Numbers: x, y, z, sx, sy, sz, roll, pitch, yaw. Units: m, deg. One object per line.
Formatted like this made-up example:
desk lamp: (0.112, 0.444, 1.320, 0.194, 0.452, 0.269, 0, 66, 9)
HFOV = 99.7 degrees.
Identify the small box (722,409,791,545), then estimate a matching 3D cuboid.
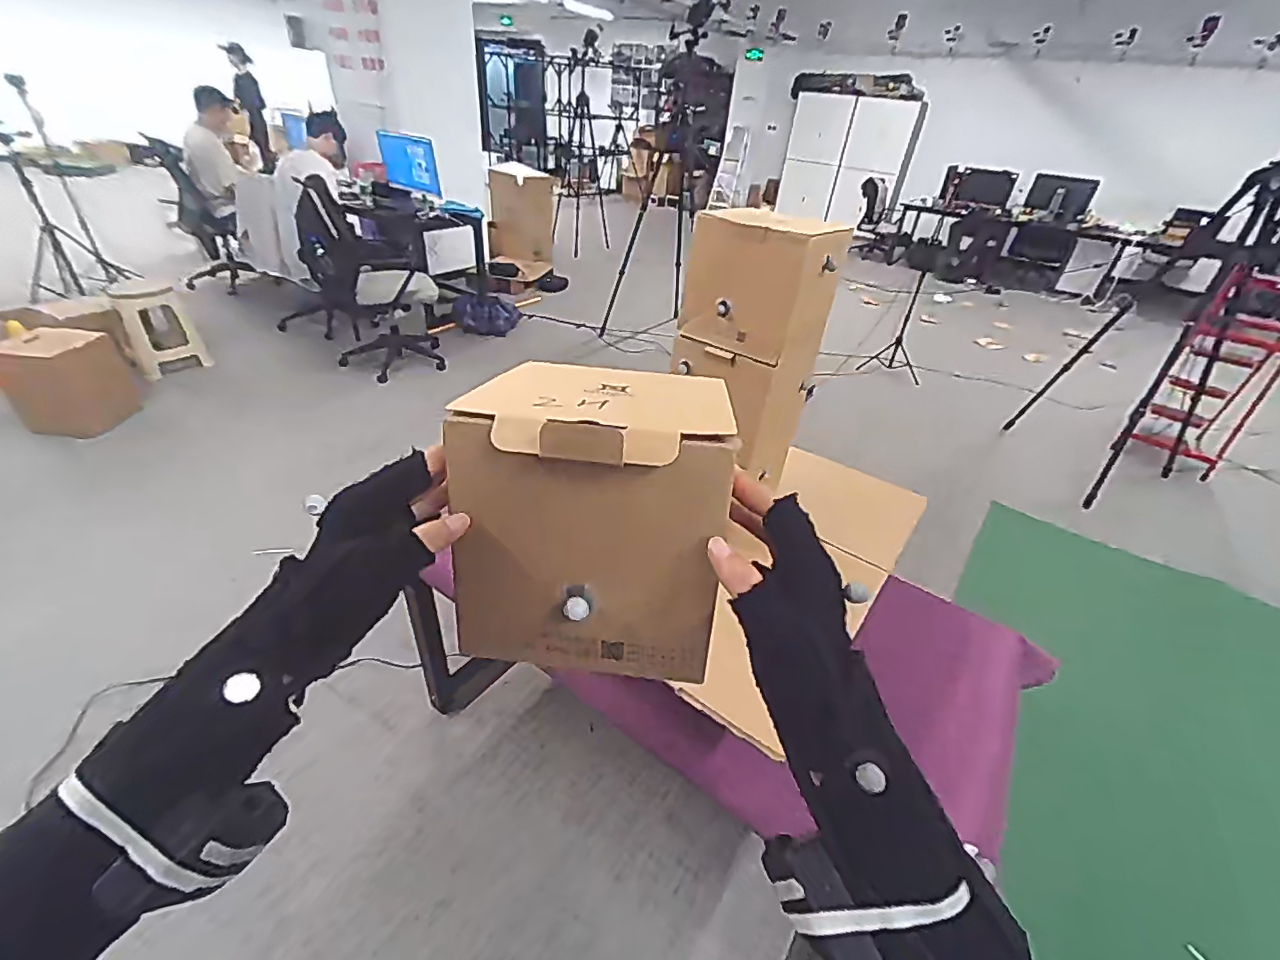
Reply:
small box: (0.143, -0.013, 0.960, 0.168, 0.176, 0.179, 27, 38, 28)

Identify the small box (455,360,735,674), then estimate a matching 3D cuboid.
small box: (-0.024, 0.014, 0.409, 0.168, 0.176, 0.179, 6, 23, 5)

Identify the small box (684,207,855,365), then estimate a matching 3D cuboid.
small box: (0.180, -0.285, 0.780, 0.168, 0.176, 0.179, 27, 38, 27)
